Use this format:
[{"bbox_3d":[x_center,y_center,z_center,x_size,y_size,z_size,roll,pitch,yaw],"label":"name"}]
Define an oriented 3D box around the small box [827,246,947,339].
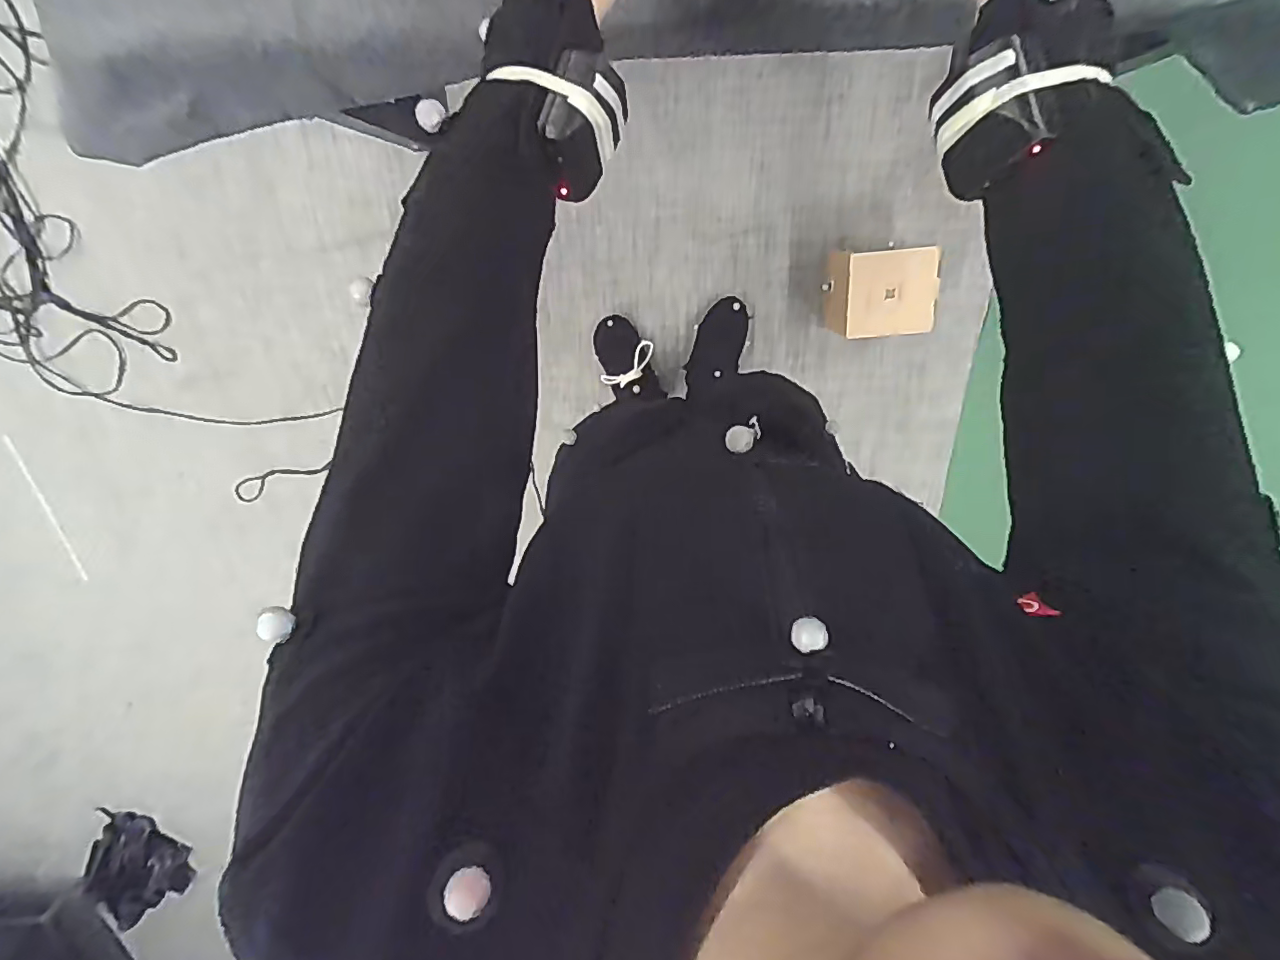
[{"bbox_3d":[0.510,-0.398,1.140,0.179,0.176,0.168,-3,112,5],"label":"small box"}]
